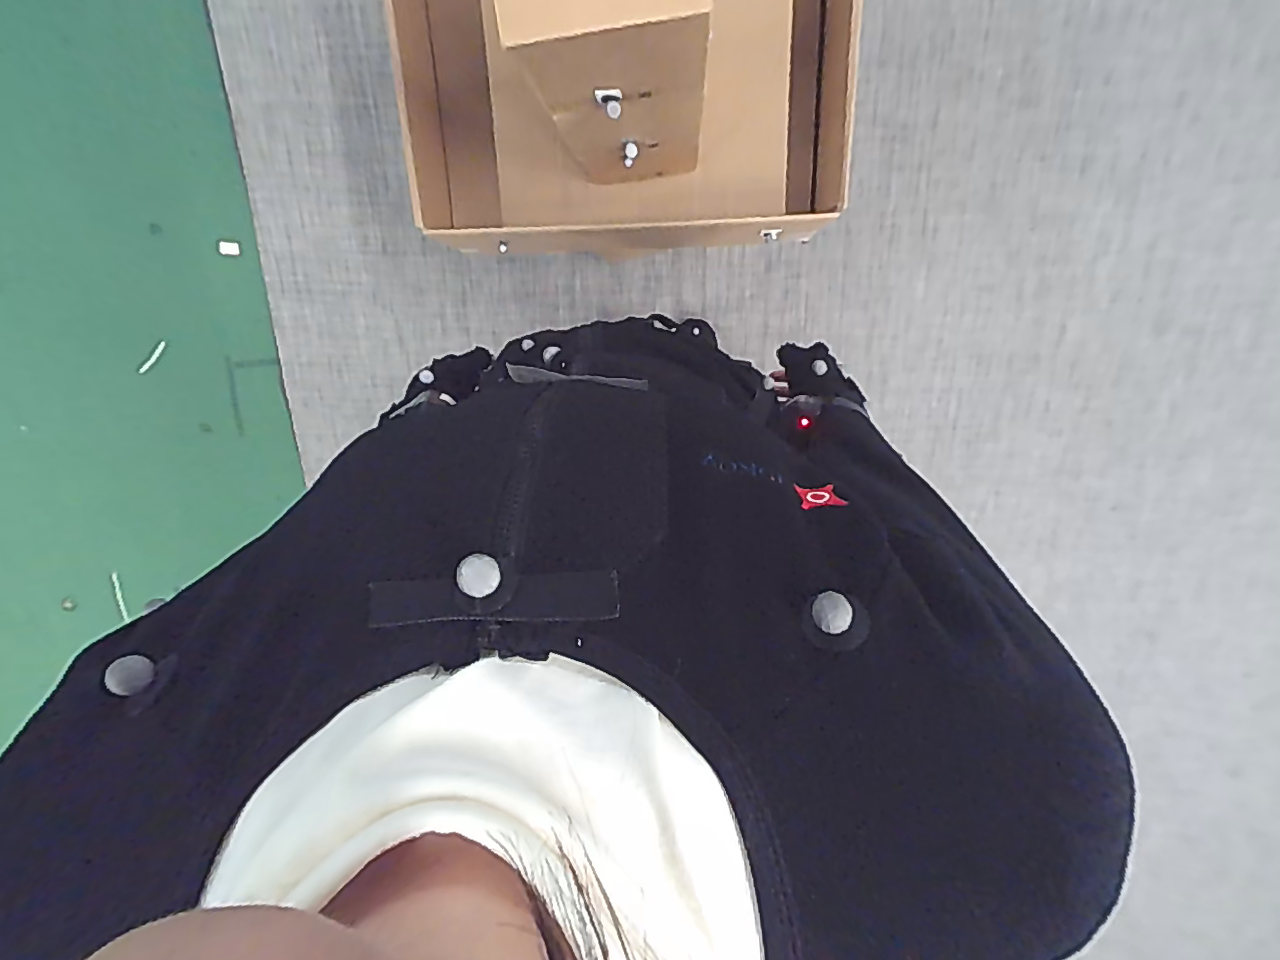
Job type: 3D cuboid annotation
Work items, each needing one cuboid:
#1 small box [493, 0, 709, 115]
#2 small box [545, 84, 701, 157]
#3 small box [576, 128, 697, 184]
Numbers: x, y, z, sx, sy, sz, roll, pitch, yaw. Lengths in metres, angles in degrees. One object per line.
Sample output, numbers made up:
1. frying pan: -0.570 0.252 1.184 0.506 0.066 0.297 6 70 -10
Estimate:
1. small box: -0.032 -0.452 0.465 0.168 0.176 0.179 -5 107 7
2. small box: -0.021 -0.499 0.619 0.168 0.176 0.179 -5 107 5
3. small box: -0.008 -0.550 0.774 0.168 0.176 0.179 -5 106 7
